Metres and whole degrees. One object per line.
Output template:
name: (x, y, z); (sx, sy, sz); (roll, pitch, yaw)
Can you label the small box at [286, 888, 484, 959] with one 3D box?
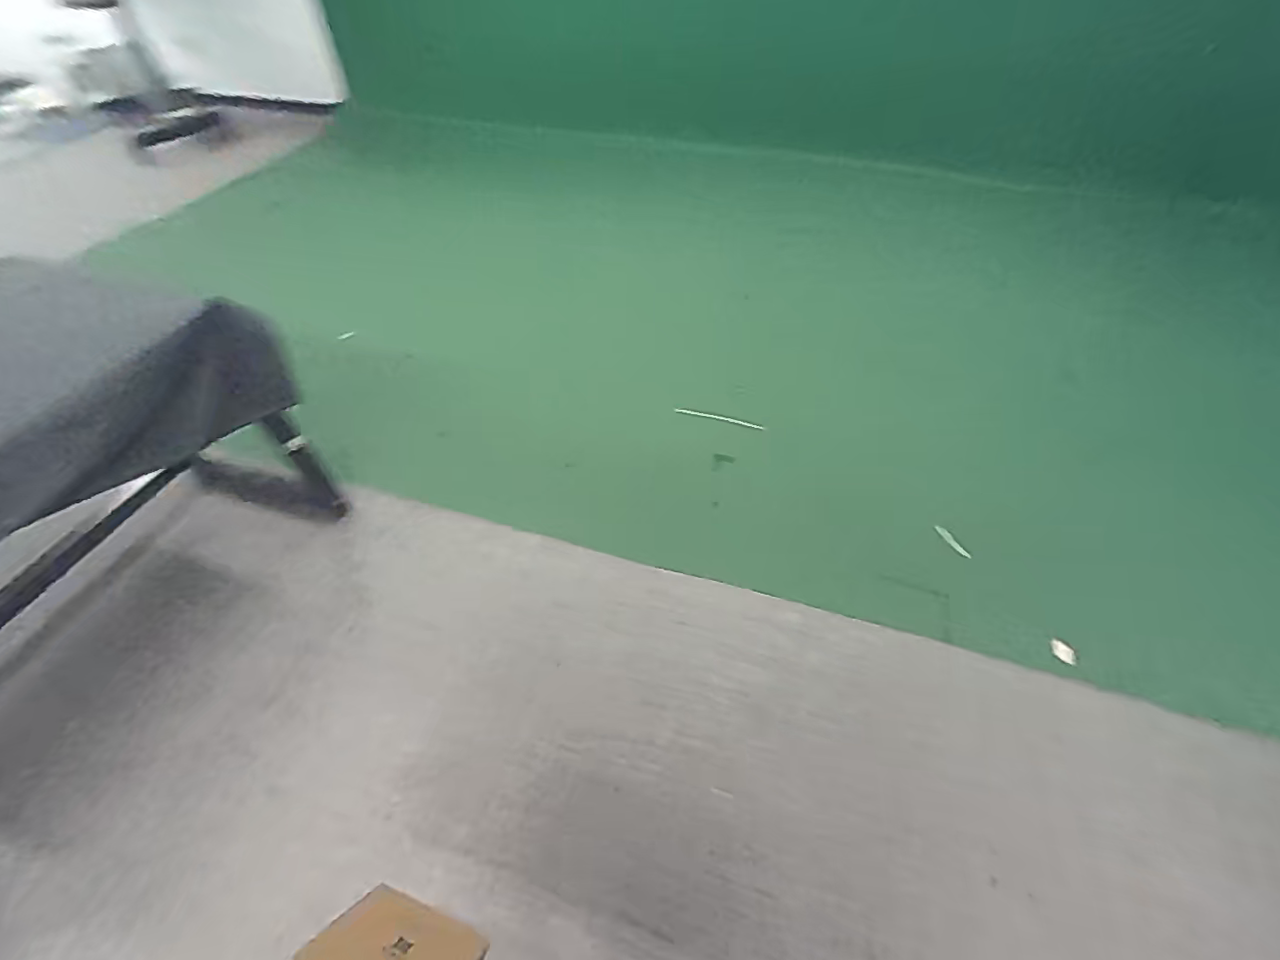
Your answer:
small box: (-0.301, 0.602, 0.583); (0.168, 0.179, 0.176); (17, 78, 11)
